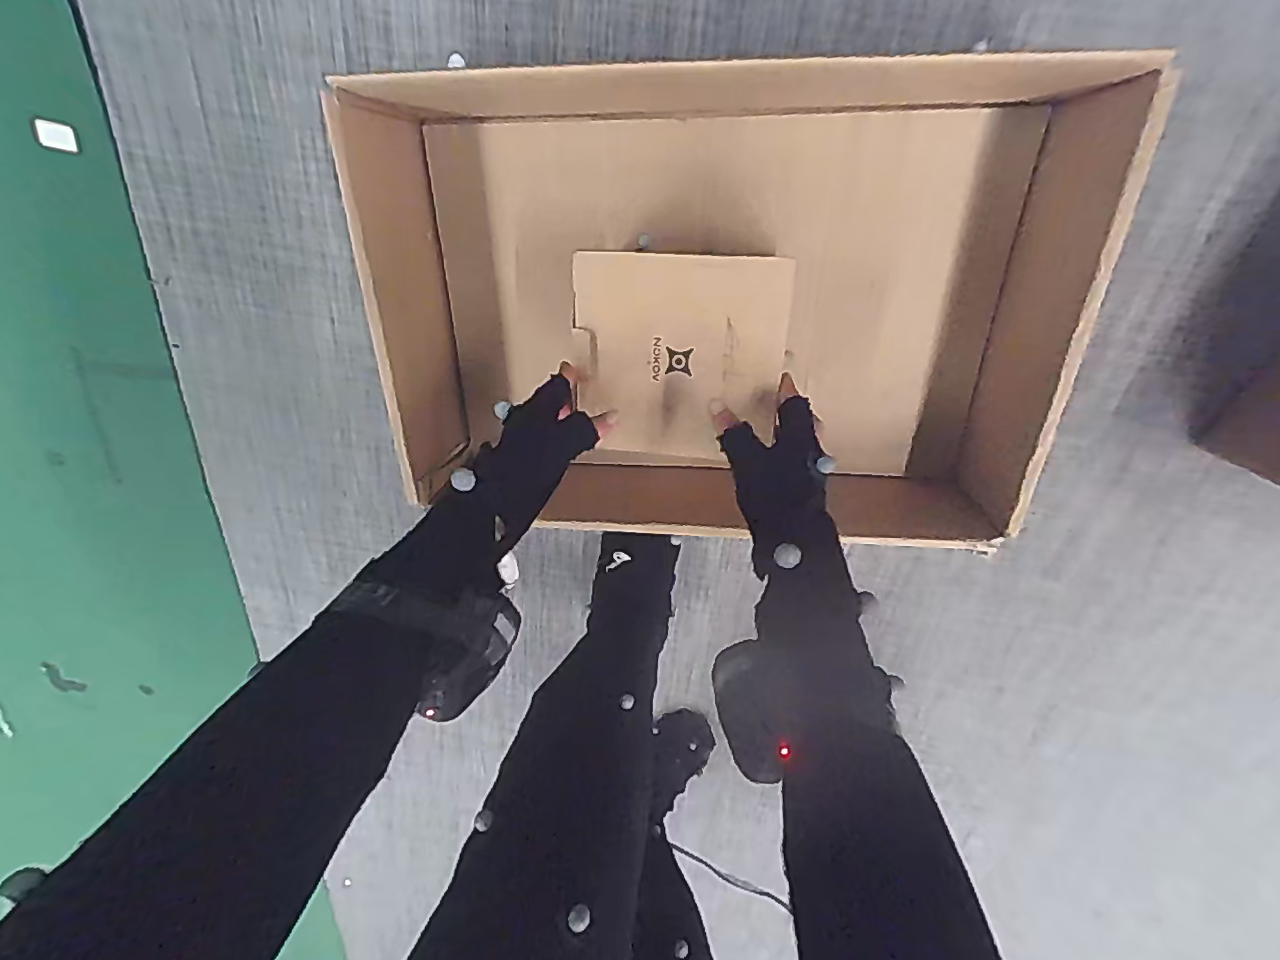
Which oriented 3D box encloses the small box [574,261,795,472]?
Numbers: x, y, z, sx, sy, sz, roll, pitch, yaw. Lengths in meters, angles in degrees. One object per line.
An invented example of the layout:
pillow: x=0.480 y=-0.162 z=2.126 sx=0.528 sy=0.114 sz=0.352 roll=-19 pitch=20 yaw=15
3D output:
small box: x=0.045 y=-0.116 z=0.521 sx=0.179 sy=0.176 sz=0.168 roll=5 pitch=110 yaw=9
